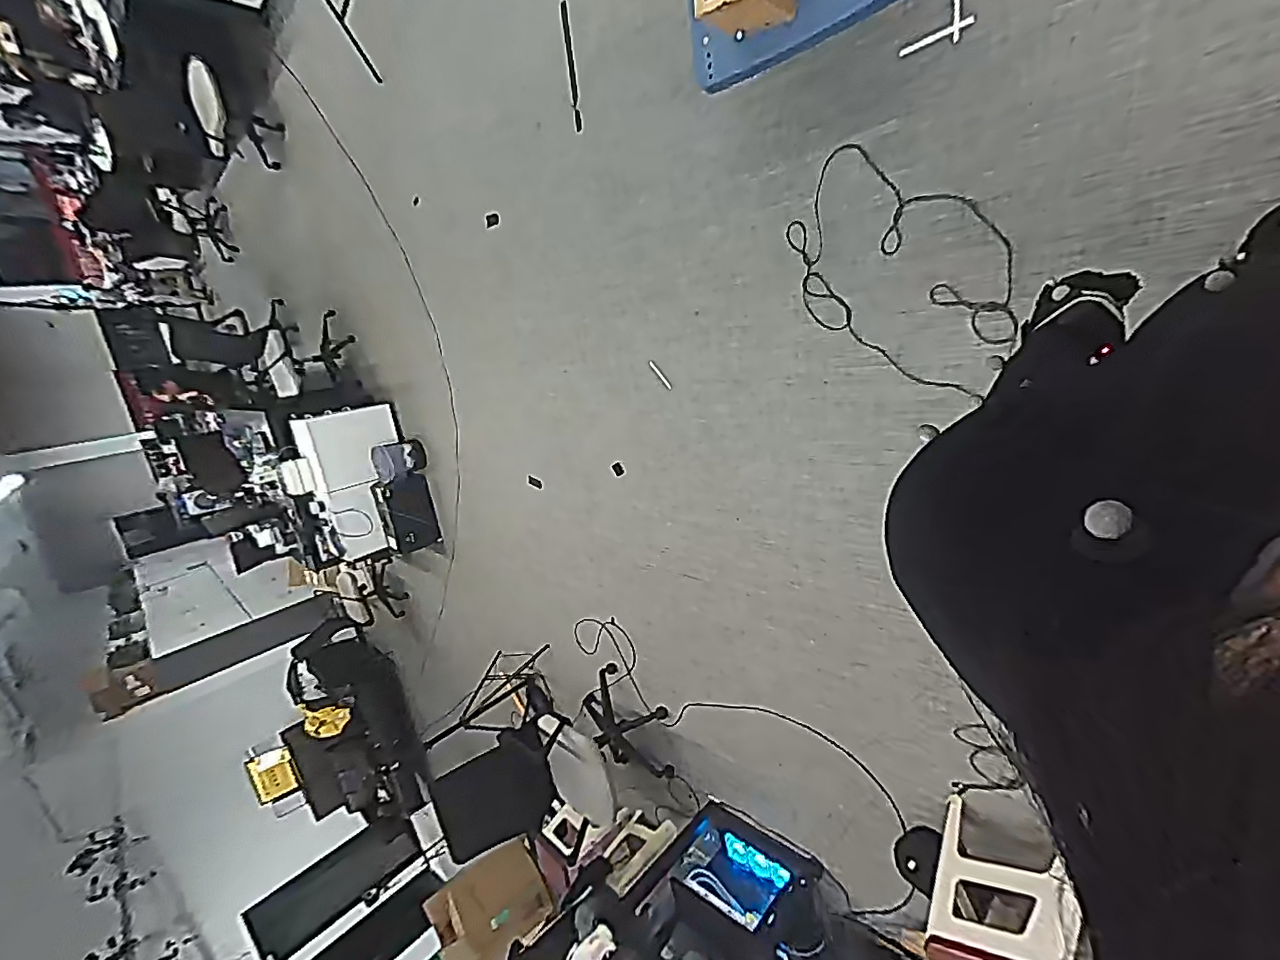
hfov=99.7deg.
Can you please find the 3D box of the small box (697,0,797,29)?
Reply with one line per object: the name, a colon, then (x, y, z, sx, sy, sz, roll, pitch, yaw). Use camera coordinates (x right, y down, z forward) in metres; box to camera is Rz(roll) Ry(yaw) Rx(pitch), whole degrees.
small box: (0.242, -1.131, 1.189, 0.168, 0.176, 0.179, 19, 118, 41)
